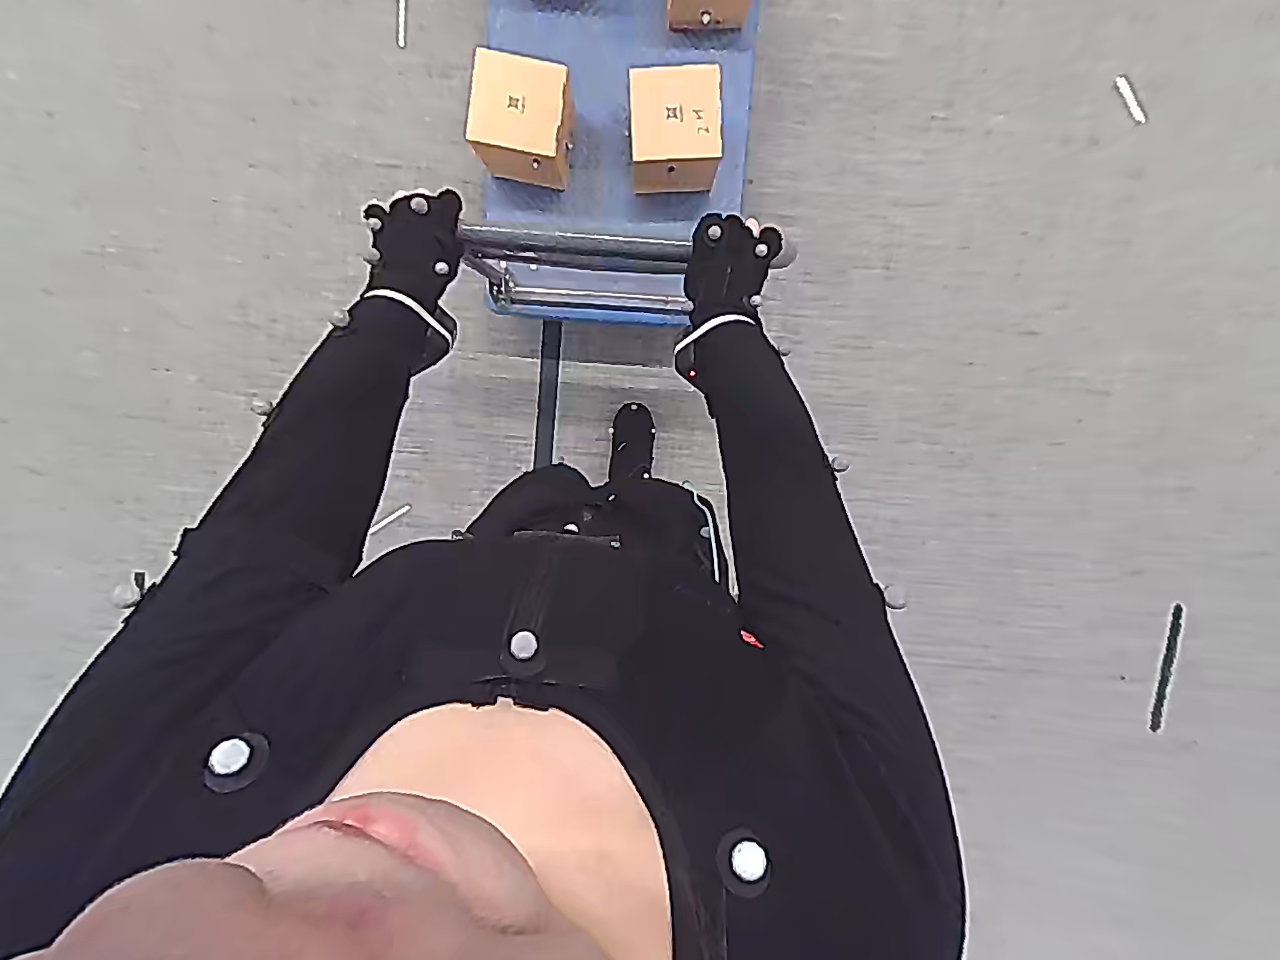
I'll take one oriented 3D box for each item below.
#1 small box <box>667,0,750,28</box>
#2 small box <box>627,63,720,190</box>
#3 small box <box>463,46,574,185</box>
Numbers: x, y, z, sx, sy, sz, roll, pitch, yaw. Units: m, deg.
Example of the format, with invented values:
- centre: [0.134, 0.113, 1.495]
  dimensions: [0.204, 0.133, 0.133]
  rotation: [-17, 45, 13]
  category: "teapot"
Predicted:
- centre: [0.139, -1.034, 1.051]
  dimensions: [0.168, 0.176, 0.179]
  rotation: [0, 100, 0]
  category: "small box"
- centre: [0.066, -0.708, 1.102]
  dimensions: [0.179, 0.176, 0.168]
  rotation: [-2, 99, 0]
  category: "small box"
- centre: [-0.238, -0.727, 1.099]
  dimensions: [0.179, 0.176, 0.168]
  rotation: [10, 99, -3]
  category: "small box"
